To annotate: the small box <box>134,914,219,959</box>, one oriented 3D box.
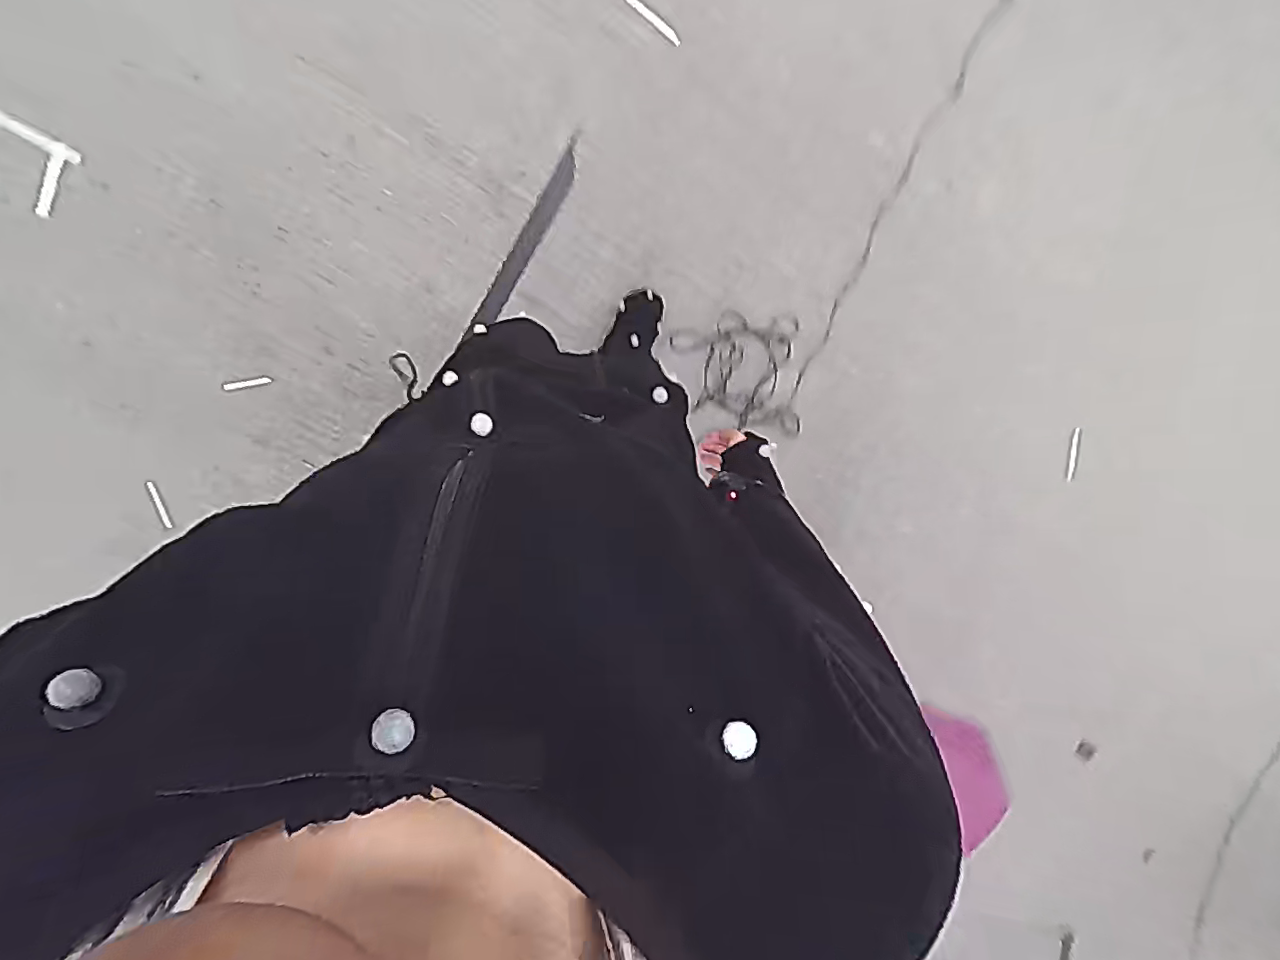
[{"bbox_3d":[-1.477,1.509,1.689,0.179,0.176,0.168,31,102,-15],"label":"small box"}]
